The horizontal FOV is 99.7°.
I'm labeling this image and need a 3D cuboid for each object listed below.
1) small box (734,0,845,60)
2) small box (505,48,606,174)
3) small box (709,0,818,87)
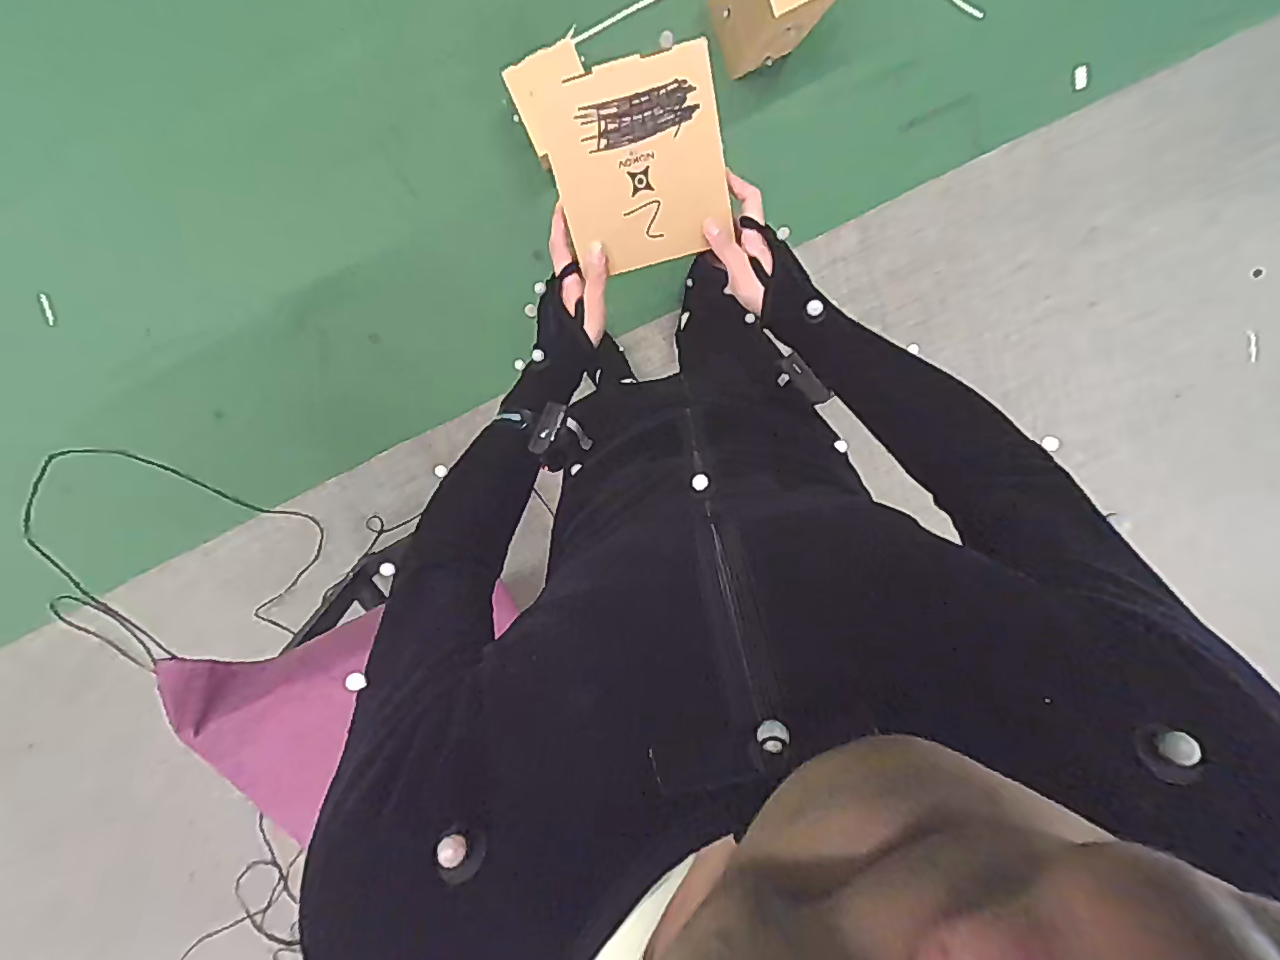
[{"bbox_3d":[0.288,-0.986,1.063,0.168,0.176,0.179,-24,110,3],"label":"small box"},{"bbox_3d":[-0.187,-0.833,1.249,0.168,0.176,0.179,-25,109,4],"label":"small box"},{"bbox_3d":[0.271,-1.038,1.218,0.168,0.176,0.179,-24,110,3],"label":"small box"}]
